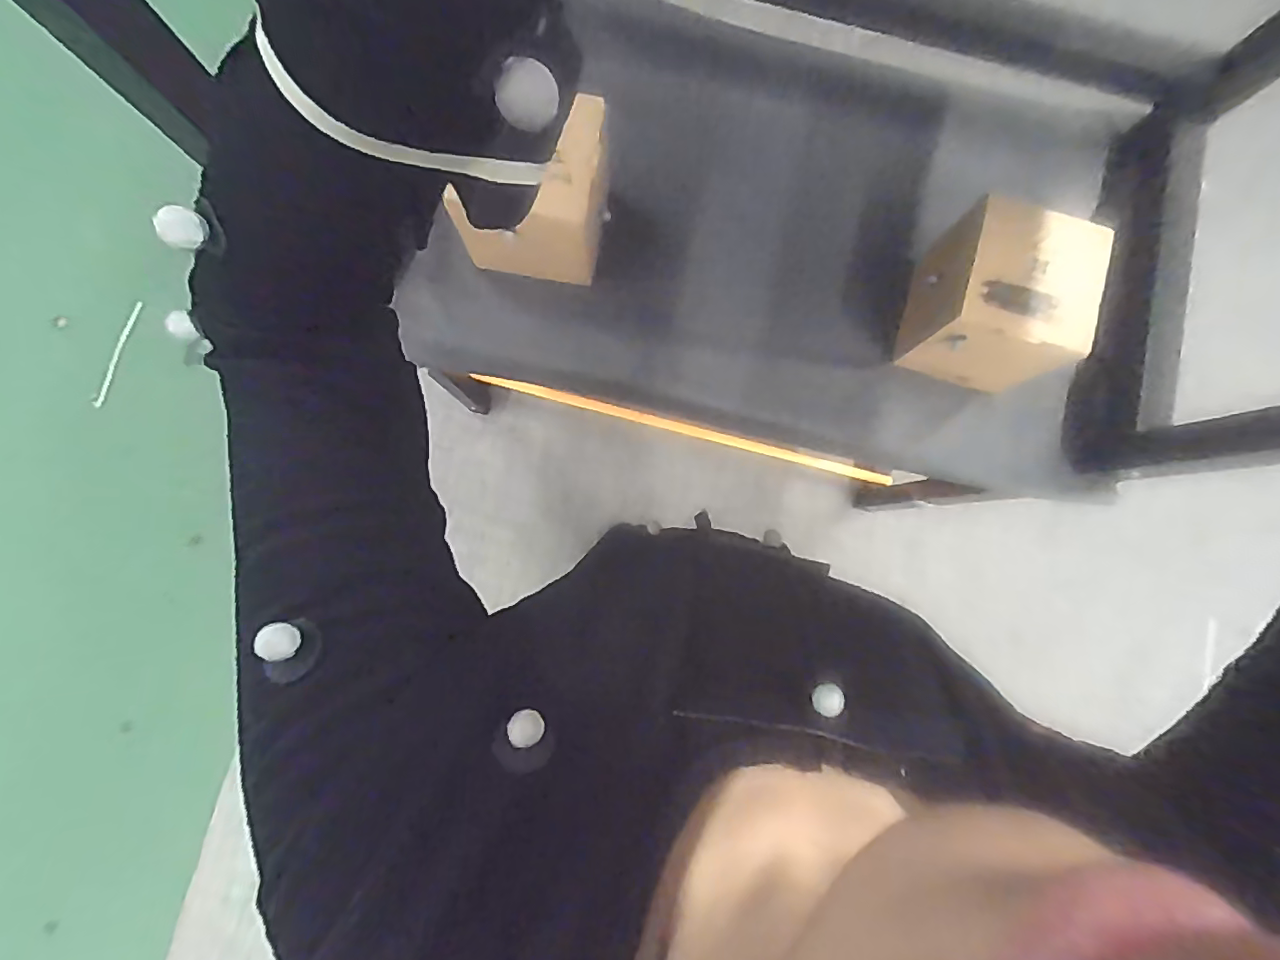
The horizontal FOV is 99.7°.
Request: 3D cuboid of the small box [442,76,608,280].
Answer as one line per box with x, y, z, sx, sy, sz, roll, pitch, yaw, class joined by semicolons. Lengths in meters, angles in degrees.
-0.143;-0.395;0.737;0.179;0.176;0.168;10;84;-2;small box
